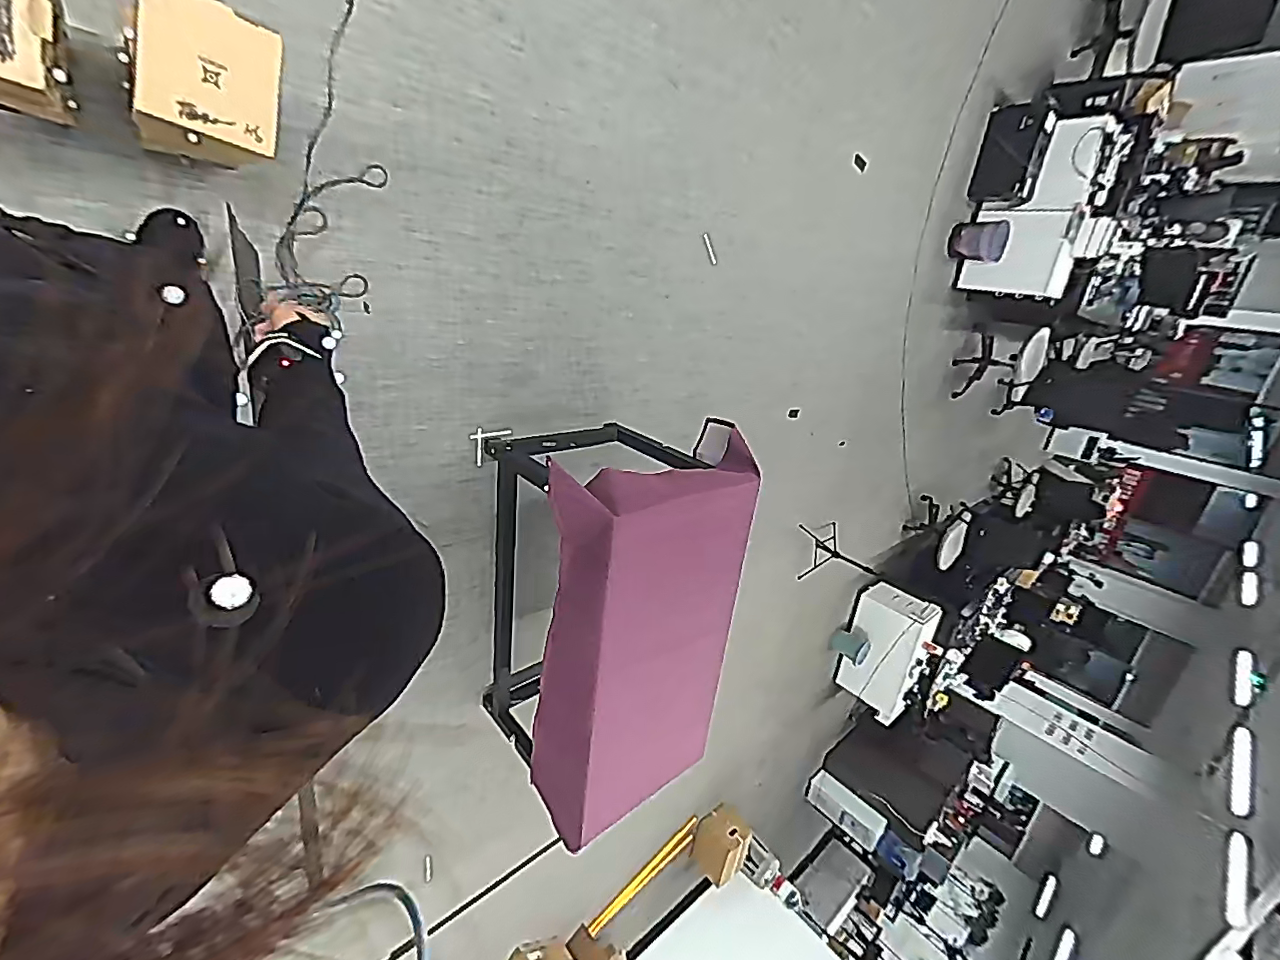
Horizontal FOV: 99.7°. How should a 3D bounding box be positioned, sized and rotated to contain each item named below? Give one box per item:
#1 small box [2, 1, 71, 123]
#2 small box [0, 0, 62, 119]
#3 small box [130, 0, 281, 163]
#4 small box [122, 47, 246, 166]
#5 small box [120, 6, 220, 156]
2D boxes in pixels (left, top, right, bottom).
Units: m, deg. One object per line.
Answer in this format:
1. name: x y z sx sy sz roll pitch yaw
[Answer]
1. small box: -1.072 -0.724 0.895 0.168 0.176 0.179 -5 113 -43
2. small box: -0.971 -0.653 0.786 0.179 0.176 0.168 0 110 -44
3. small box: -0.682 -0.624 0.846 0.168 0.176 0.179 1 108 -44
4. small box: -0.895 -0.738 1.065 0.168 0.176 0.179 -10 117 -41
5. small box: -0.788 -0.682 0.958 0.179 0.176 0.168 -8 116 -41
